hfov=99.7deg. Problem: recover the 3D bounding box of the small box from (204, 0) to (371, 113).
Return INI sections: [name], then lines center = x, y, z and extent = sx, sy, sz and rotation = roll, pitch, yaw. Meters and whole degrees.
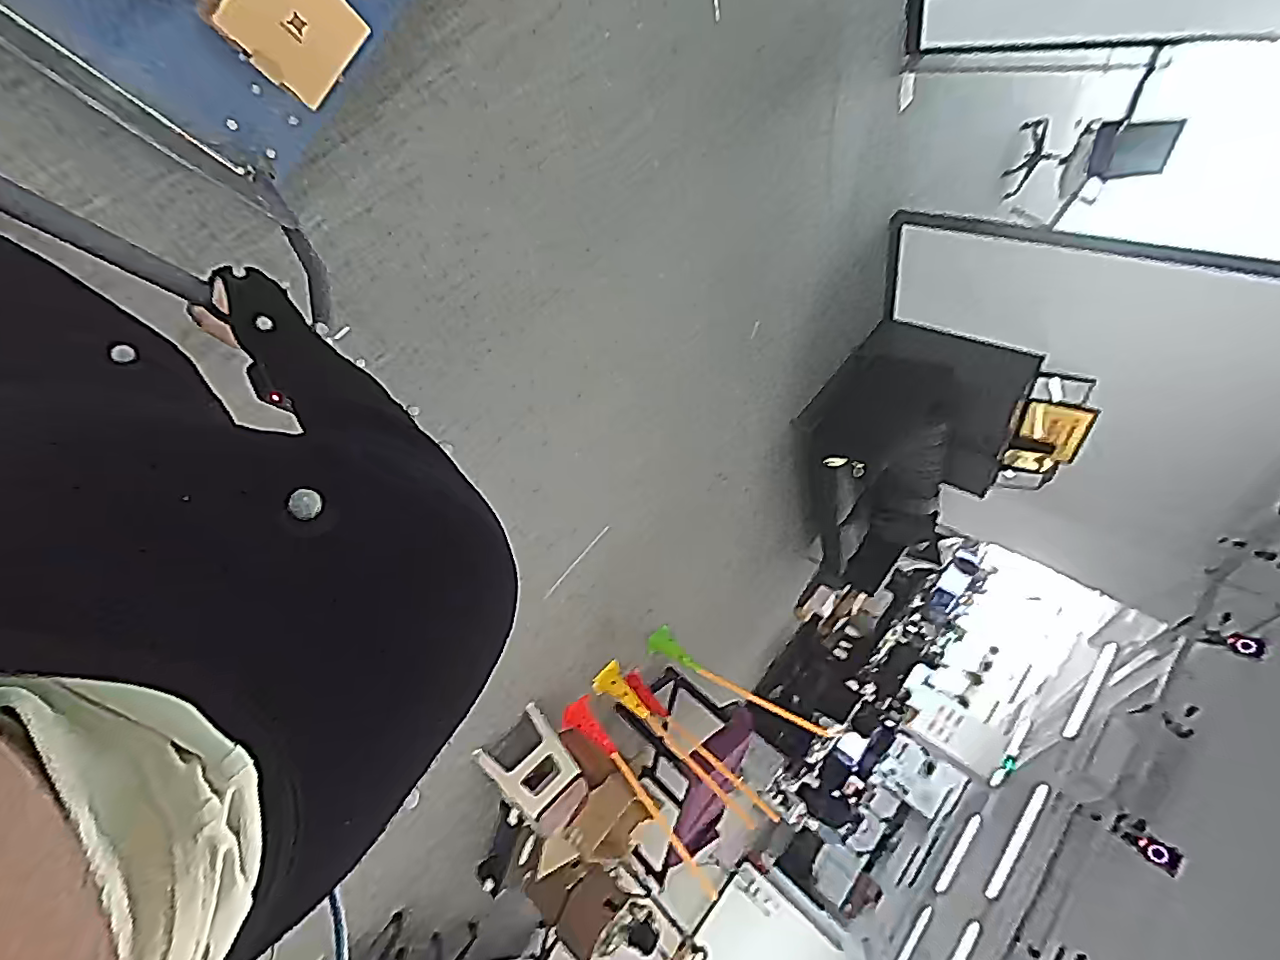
[small box]
center = -0.611, -0.789, 0.932
extent = 0.179, 0.176, 0.168
rotation = -49, 146, 7
